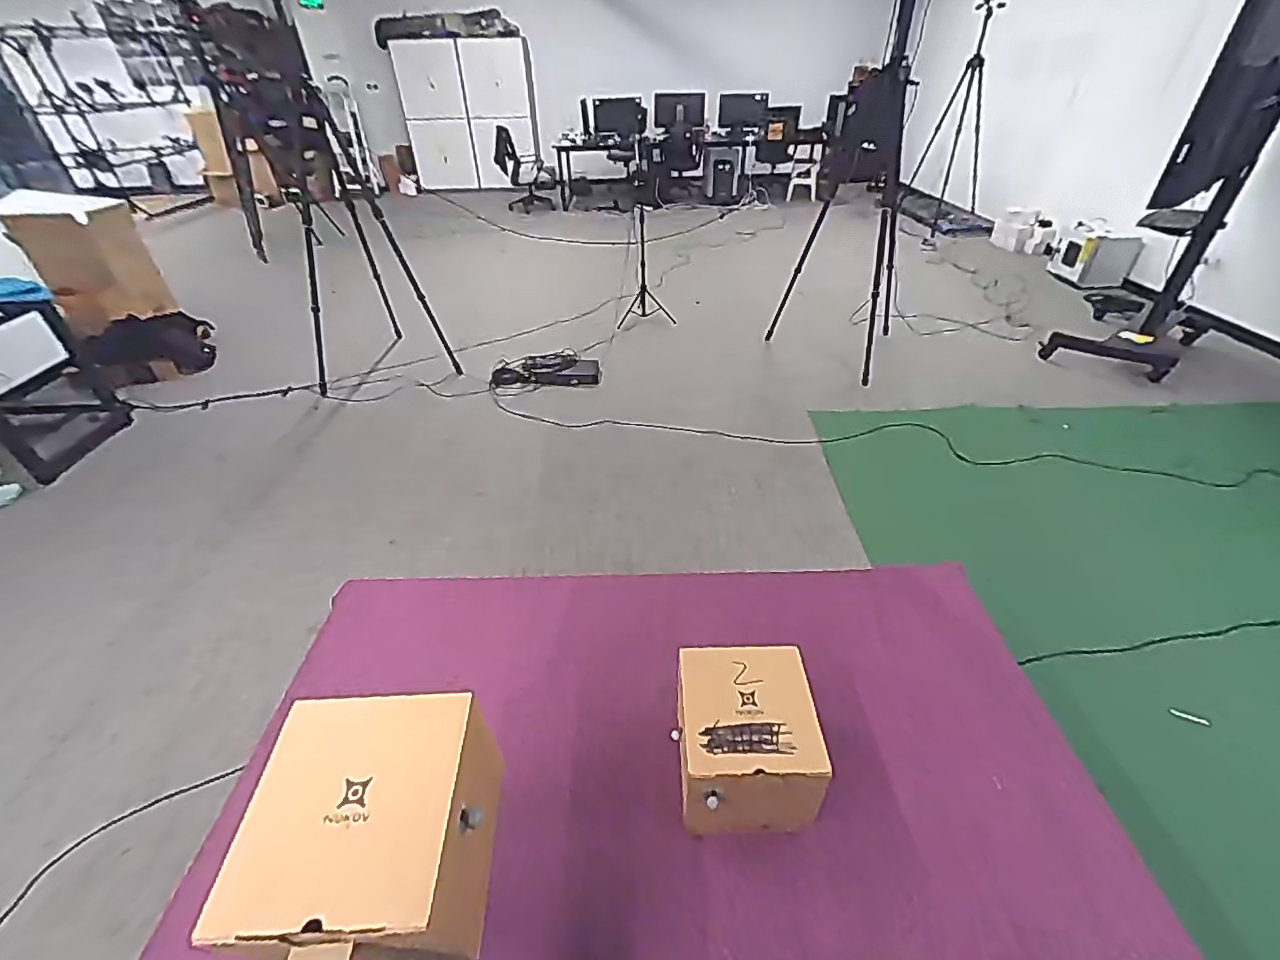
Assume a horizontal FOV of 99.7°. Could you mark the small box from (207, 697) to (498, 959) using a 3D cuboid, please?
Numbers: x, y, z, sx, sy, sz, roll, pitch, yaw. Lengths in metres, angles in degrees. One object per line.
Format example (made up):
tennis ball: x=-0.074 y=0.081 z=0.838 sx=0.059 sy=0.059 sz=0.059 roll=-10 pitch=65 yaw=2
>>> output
small box: x=-0.237 y=0.327 z=0.508 sx=0.168 sy=0.176 sz=0.179 roll=-2 pitch=43 yaw=-2
